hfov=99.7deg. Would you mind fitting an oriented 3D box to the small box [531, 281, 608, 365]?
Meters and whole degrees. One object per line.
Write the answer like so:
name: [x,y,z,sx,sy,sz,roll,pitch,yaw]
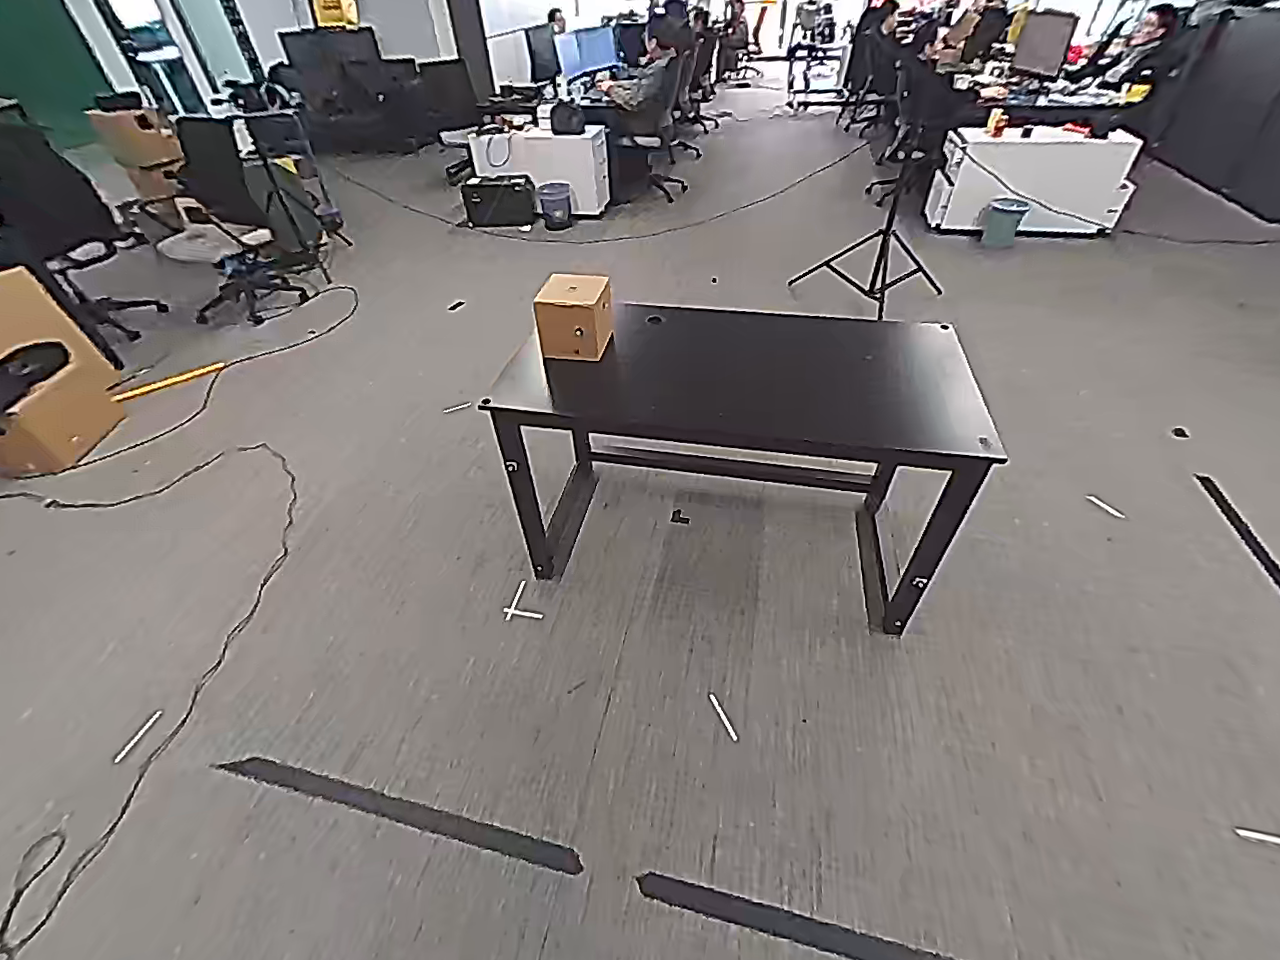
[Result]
small box: [-0.188,-0.436,1.505,0.168,0.176,0.179,7,43,8]
